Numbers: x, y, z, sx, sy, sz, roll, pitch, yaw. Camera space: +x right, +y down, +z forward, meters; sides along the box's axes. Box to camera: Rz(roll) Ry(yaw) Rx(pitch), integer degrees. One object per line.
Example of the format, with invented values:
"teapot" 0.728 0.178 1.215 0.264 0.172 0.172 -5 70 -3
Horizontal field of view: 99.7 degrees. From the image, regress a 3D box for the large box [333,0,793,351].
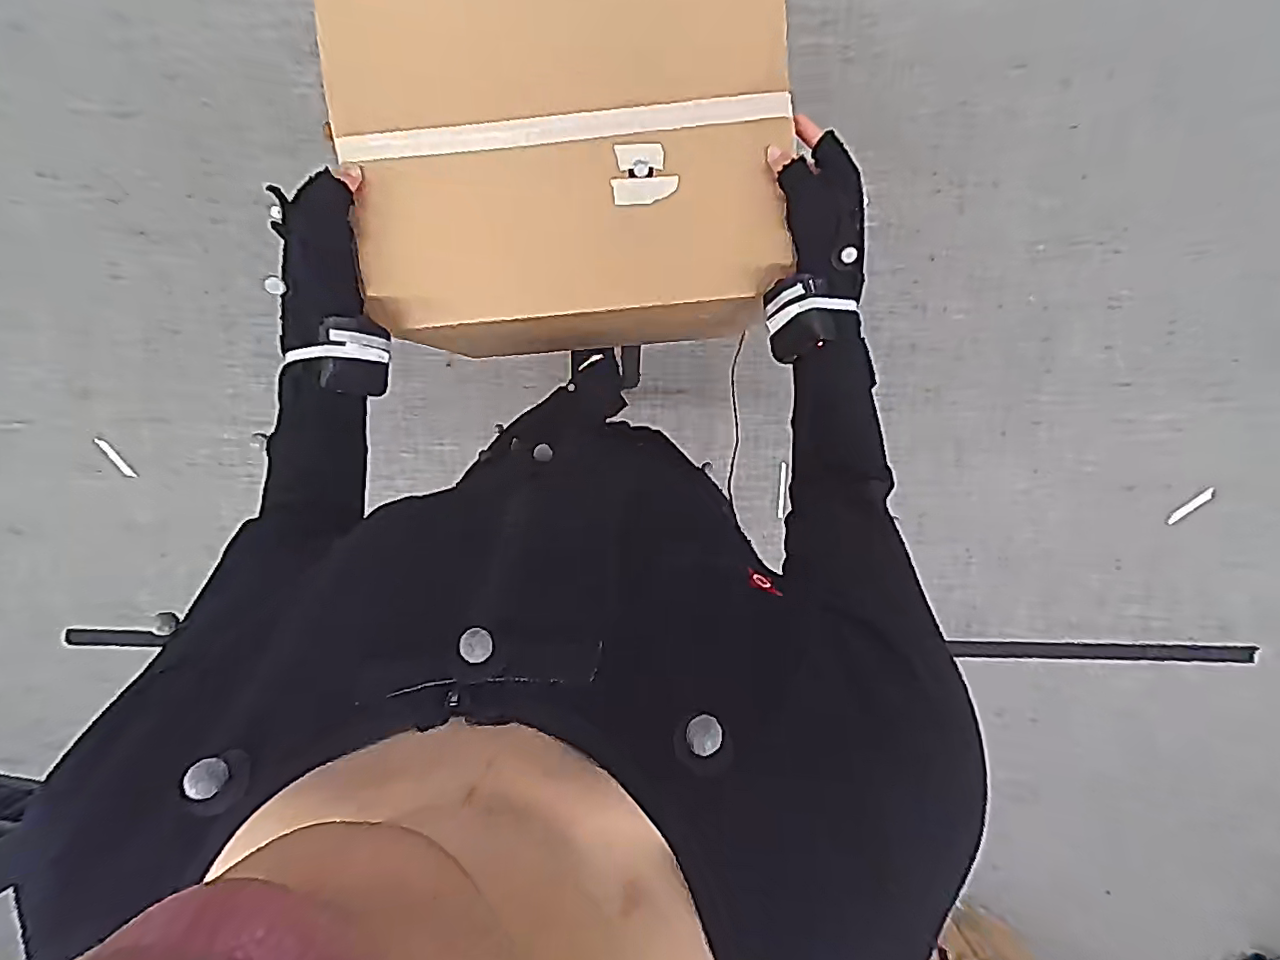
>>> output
"large box" -0.068 -0.345 0.646 0.408 0.320 0.320 -6 99 0
